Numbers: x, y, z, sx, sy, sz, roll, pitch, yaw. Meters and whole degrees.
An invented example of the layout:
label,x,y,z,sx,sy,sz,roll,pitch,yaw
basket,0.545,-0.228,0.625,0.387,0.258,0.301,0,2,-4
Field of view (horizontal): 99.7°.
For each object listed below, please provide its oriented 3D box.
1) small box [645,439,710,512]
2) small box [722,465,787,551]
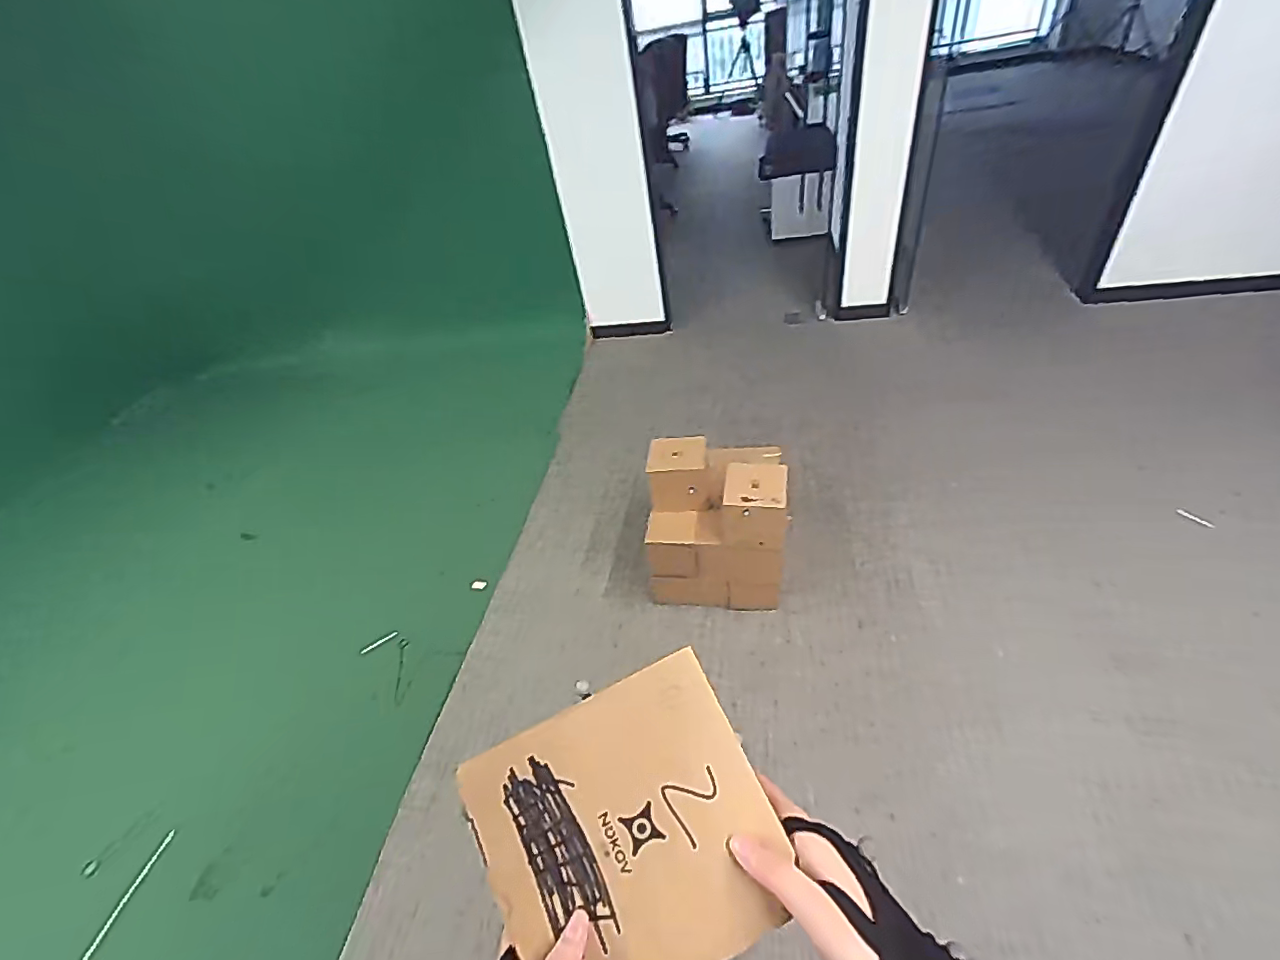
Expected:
label,x,y,z,sx,sy,sz,roll,pitch,yaw
small box,0.124,-0.012,1.691,0.179,0.176,0.168,-2,39,12
small box,0.327,0.077,1.534,0.168,0.176,0.179,2,42,15
